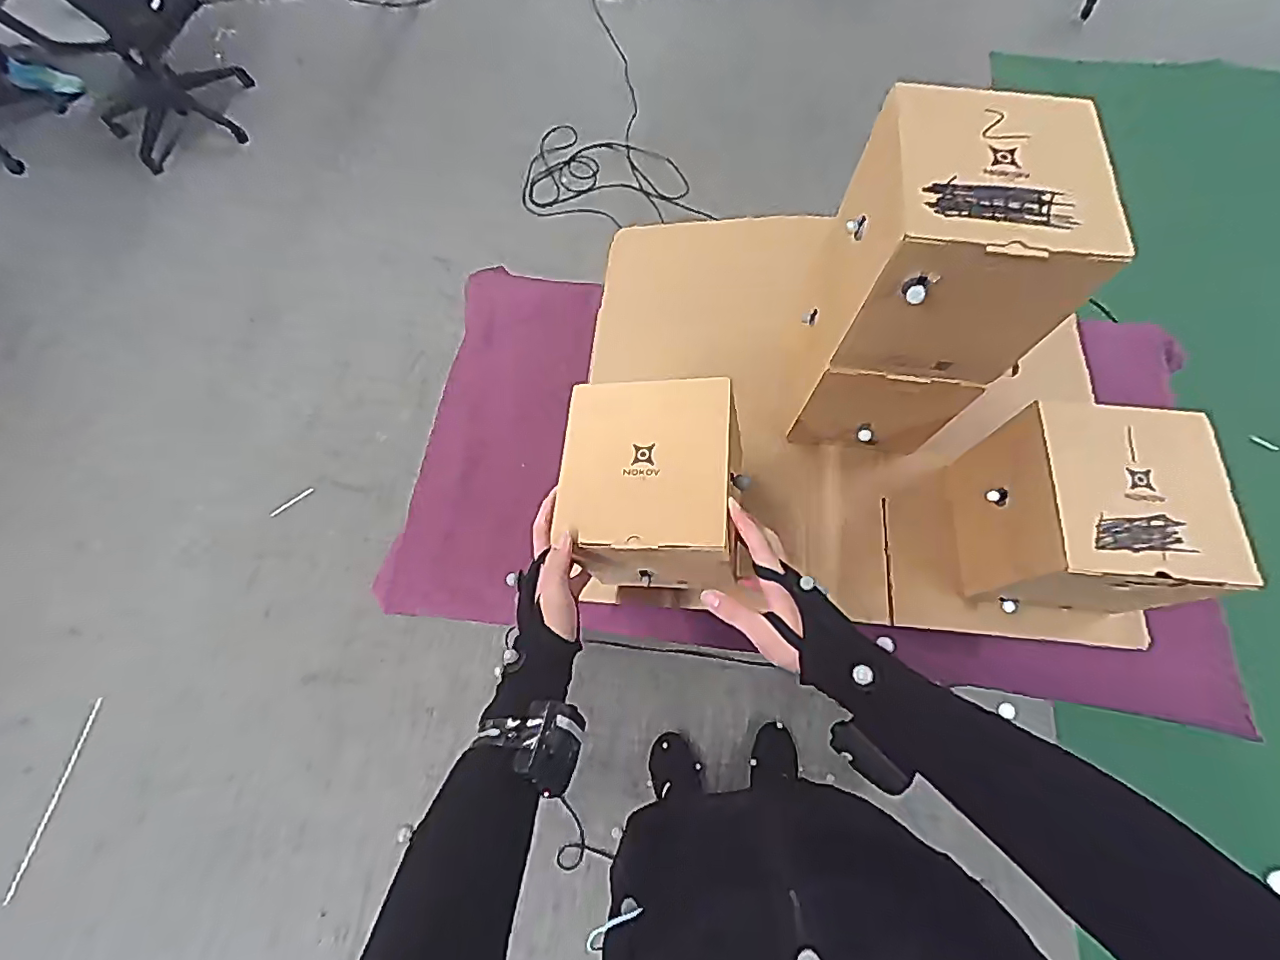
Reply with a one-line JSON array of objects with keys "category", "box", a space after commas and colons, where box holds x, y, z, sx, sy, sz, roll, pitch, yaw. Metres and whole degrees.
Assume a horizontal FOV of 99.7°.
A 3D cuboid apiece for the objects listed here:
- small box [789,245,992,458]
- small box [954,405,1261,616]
[{"category": "small box", "box": [0.281, -0.146, 0.648, 0.168, 0.176, 0.179, 6, 69, 2]}, {"category": "small box", "box": [0.465, 0.042, 0.575, 0.168, 0.176, 0.179, 6, 68, 2]}]
